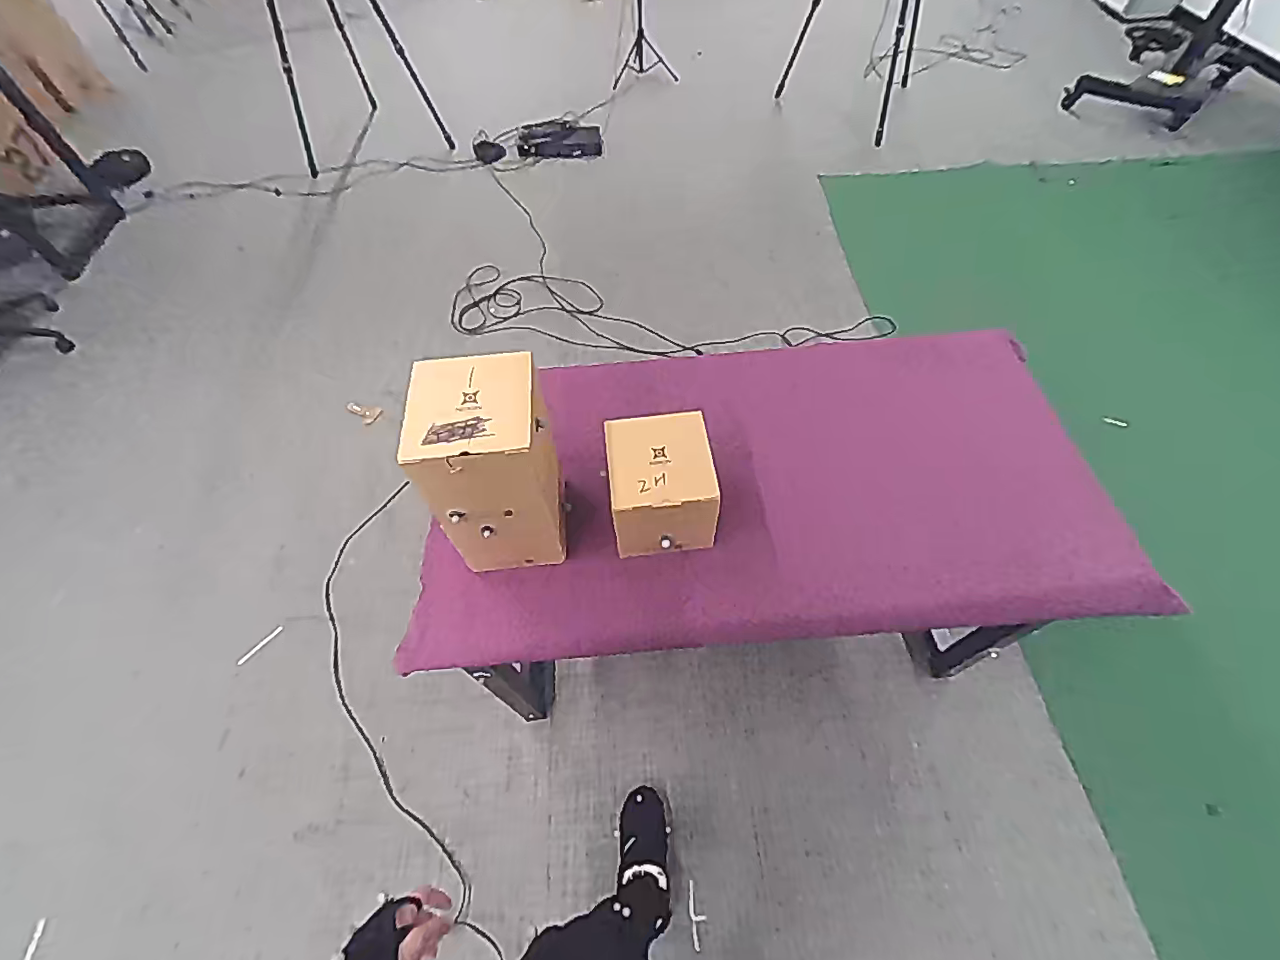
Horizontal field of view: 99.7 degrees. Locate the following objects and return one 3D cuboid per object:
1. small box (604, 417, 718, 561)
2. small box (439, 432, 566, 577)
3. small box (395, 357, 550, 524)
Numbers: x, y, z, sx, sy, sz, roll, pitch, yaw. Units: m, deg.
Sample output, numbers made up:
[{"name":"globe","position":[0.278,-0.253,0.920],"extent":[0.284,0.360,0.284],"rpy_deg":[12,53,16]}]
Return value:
[{"name":"small box","position":[0.030,0.018,0.916],"extent":[0.168,0.176,0.179],"rpy_deg":[-6,56,-1]},{"name":"small box","position":[-0.220,0.043,0.909],"extent":[0.168,0.176,0.179],"rpy_deg":[-6,55,-1]},{"name":"small box","position":[-0.224,-0.048,0.773],"extent":[0.168,0.176,0.179],"rpy_deg":[-6,56,-2]}]
